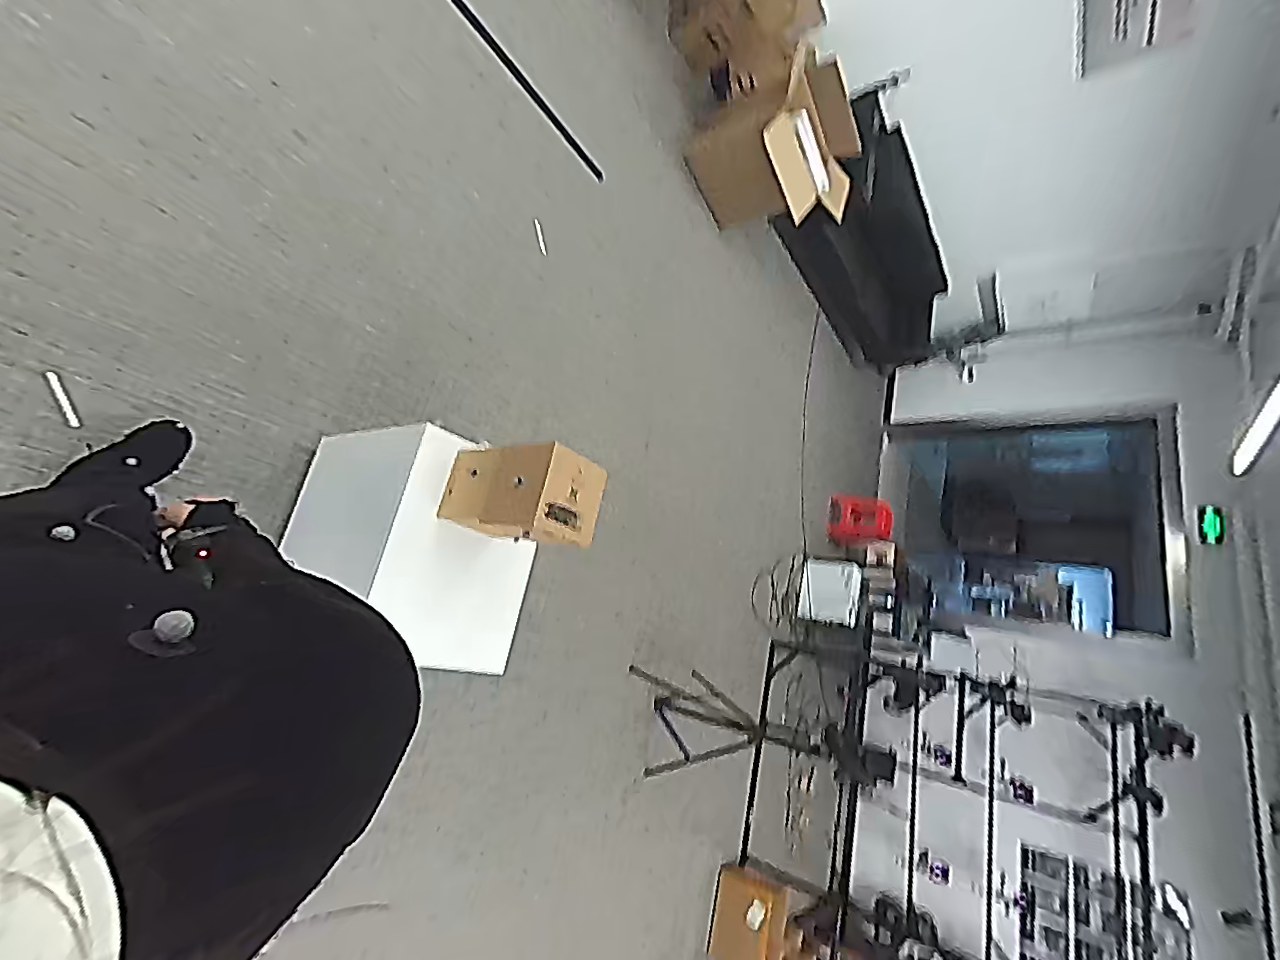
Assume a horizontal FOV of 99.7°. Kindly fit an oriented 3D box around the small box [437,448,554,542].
[{"bbox_3d":[-0.332,0.038,1.241,0.179,0.176,0.168,32,65,-48],"label":"small box"}]
